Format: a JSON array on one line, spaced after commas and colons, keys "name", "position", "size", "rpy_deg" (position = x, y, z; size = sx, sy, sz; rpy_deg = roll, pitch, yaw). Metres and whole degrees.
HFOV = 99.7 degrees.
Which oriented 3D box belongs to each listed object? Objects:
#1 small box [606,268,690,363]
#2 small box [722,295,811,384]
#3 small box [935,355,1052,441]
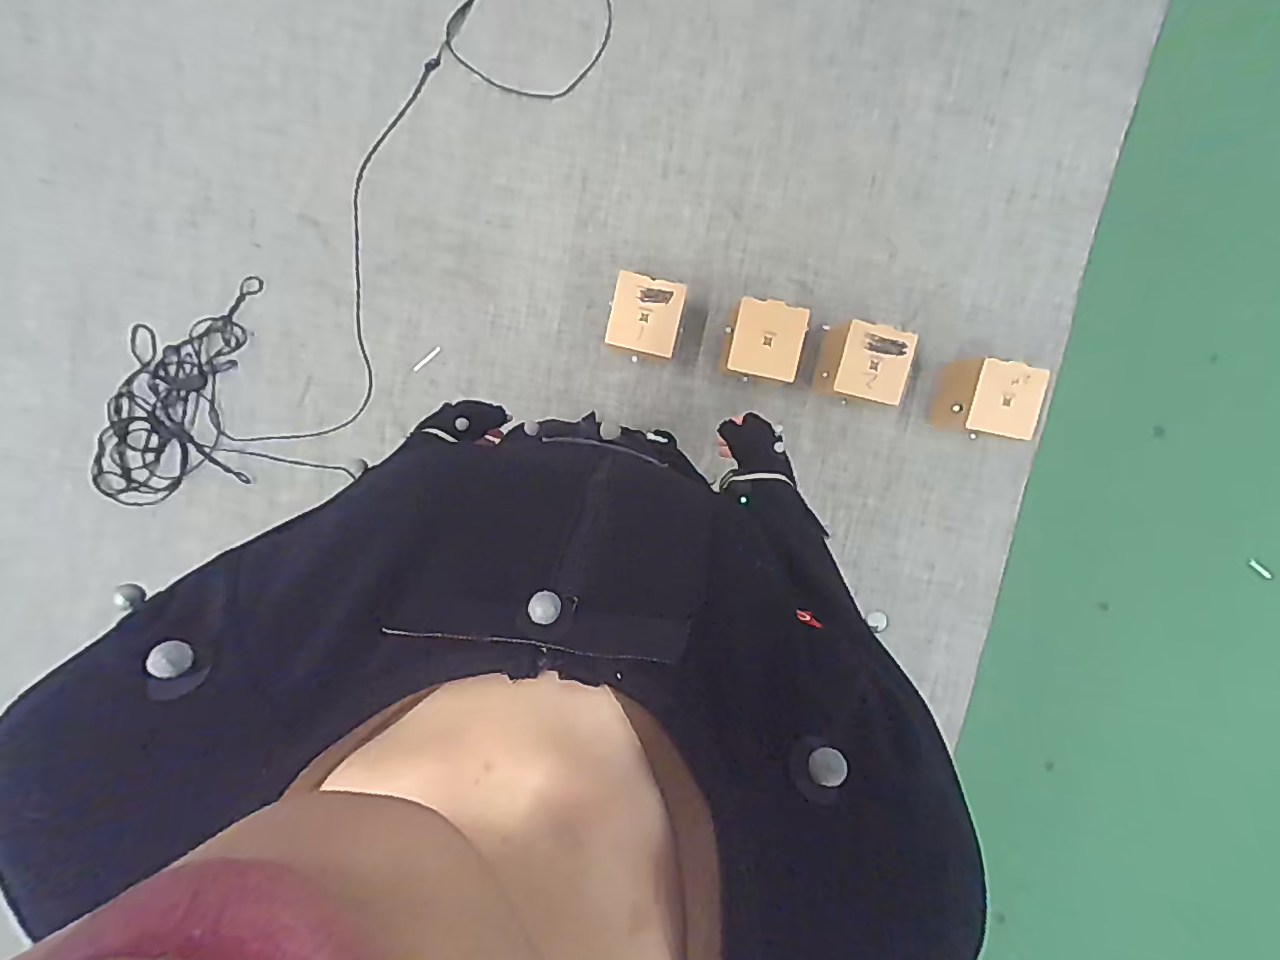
[{"name": "small box", "position": [0.018, -0.401, 1.344], "size": [0.168, 0.176, 0.179], "rpy_deg": [13, 98, -1]}, {"name": "small box", "position": [0.306, -0.342, 1.351], "size": [0.168, 0.176, 0.179], "rpy_deg": [11, 96, -1]}, {"name": "small box", "position": [0.879, -0.204, 1.365], "size": [0.168, 0.176, 0.179], "rpy_deg": [12, 97, -2]}]
